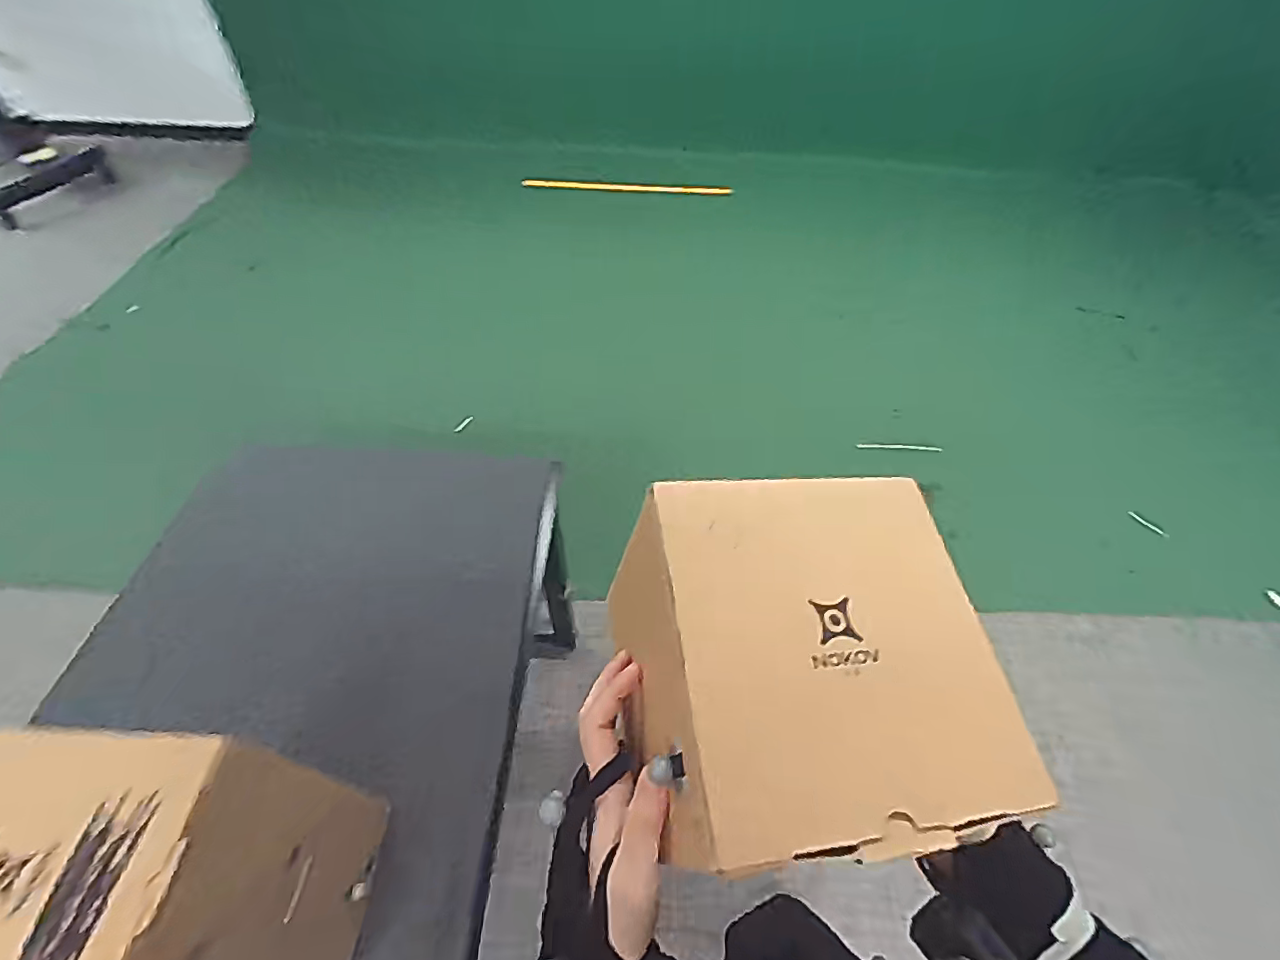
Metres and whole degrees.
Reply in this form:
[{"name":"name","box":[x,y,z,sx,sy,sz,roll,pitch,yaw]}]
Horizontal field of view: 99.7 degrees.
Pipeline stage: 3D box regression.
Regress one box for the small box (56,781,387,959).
[{"name":"small box","box":[-0.377,0.398,0.517,0.179,0.176,0.168,2,52,-1]}]

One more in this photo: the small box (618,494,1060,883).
[{"name":"small box","box":[0.086,0.125,0.335,0.168,0.176,0.179,0,59,-14]}]
